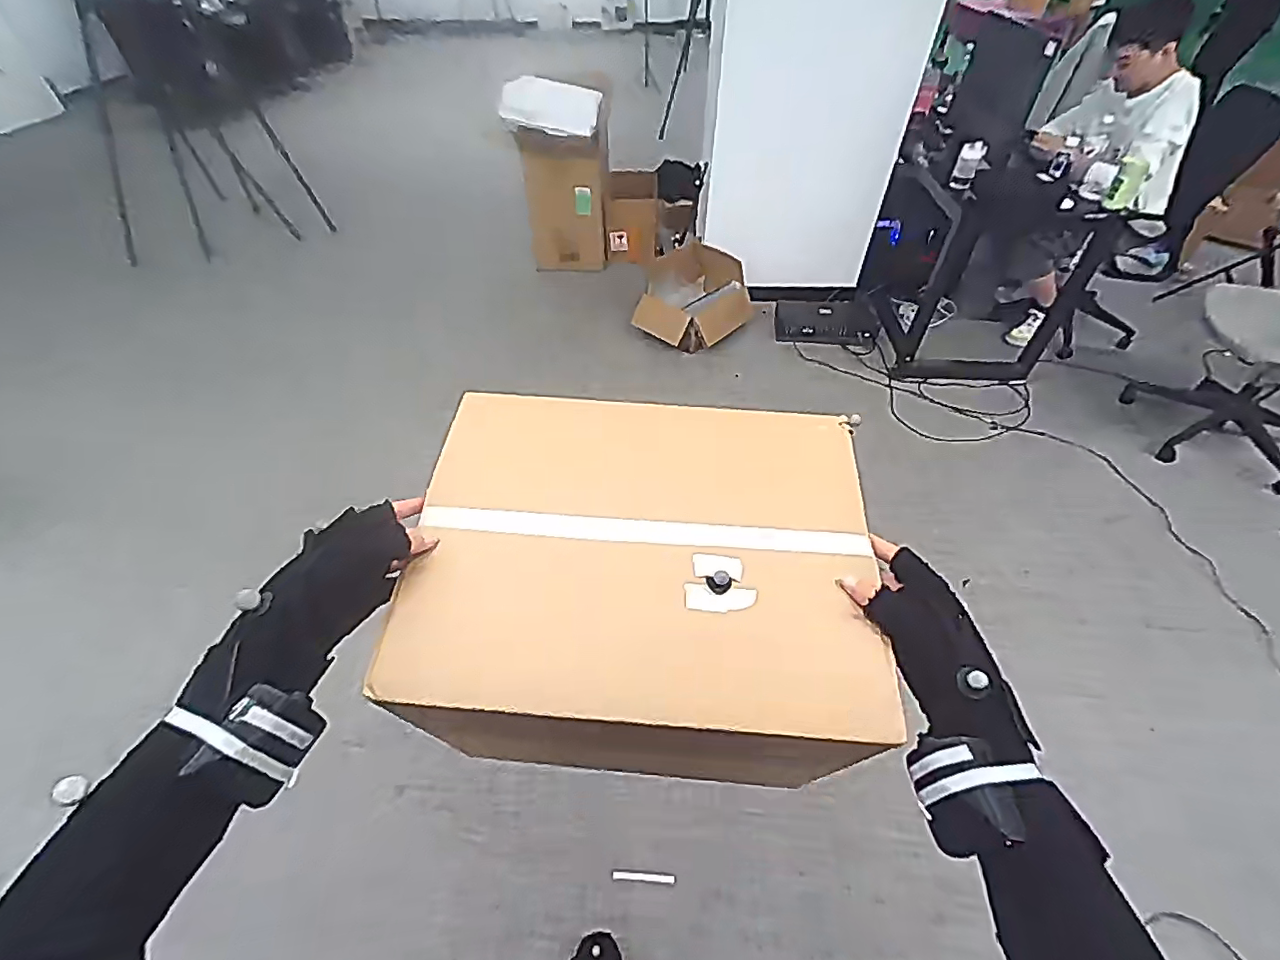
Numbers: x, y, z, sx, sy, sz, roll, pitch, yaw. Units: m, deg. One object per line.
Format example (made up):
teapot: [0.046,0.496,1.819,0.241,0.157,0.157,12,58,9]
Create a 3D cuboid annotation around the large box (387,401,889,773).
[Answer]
large box: [0.003,0.135,0.626,0.408,0.320,0.320,5,56,2]
